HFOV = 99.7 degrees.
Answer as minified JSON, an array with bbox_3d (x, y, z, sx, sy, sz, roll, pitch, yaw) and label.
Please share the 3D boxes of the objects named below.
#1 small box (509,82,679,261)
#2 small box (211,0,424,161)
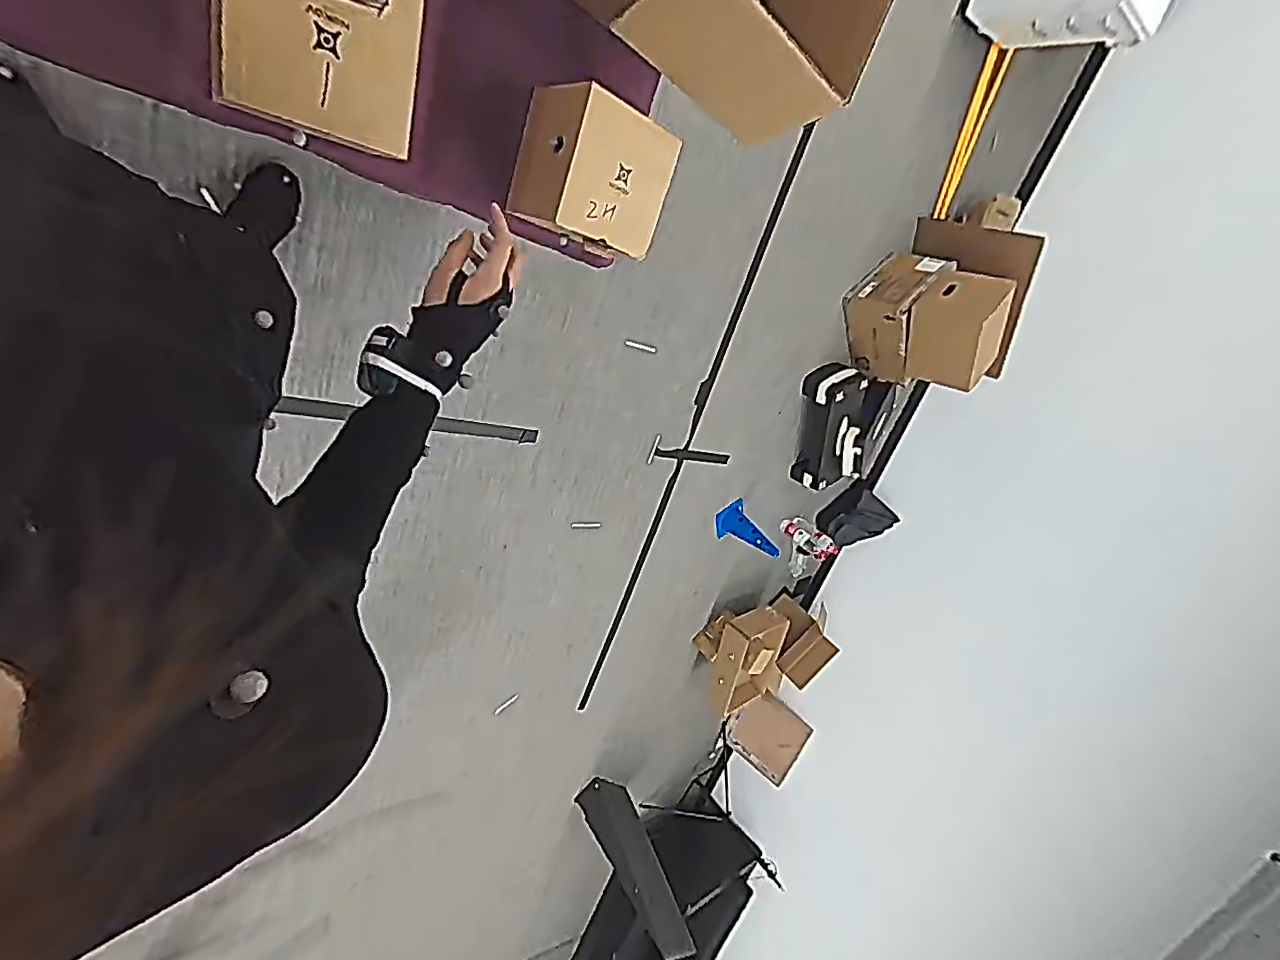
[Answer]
[{"bbox_3d":[-0.077,-0.457,0.813,0.168,0.176,0.179,4,114,-42],"label":"small box"},{"bbox_3d":[-0.346,-0.466,0.572,0.168,0.176,0.179,-3,119,-40],"label":"small box"}]
